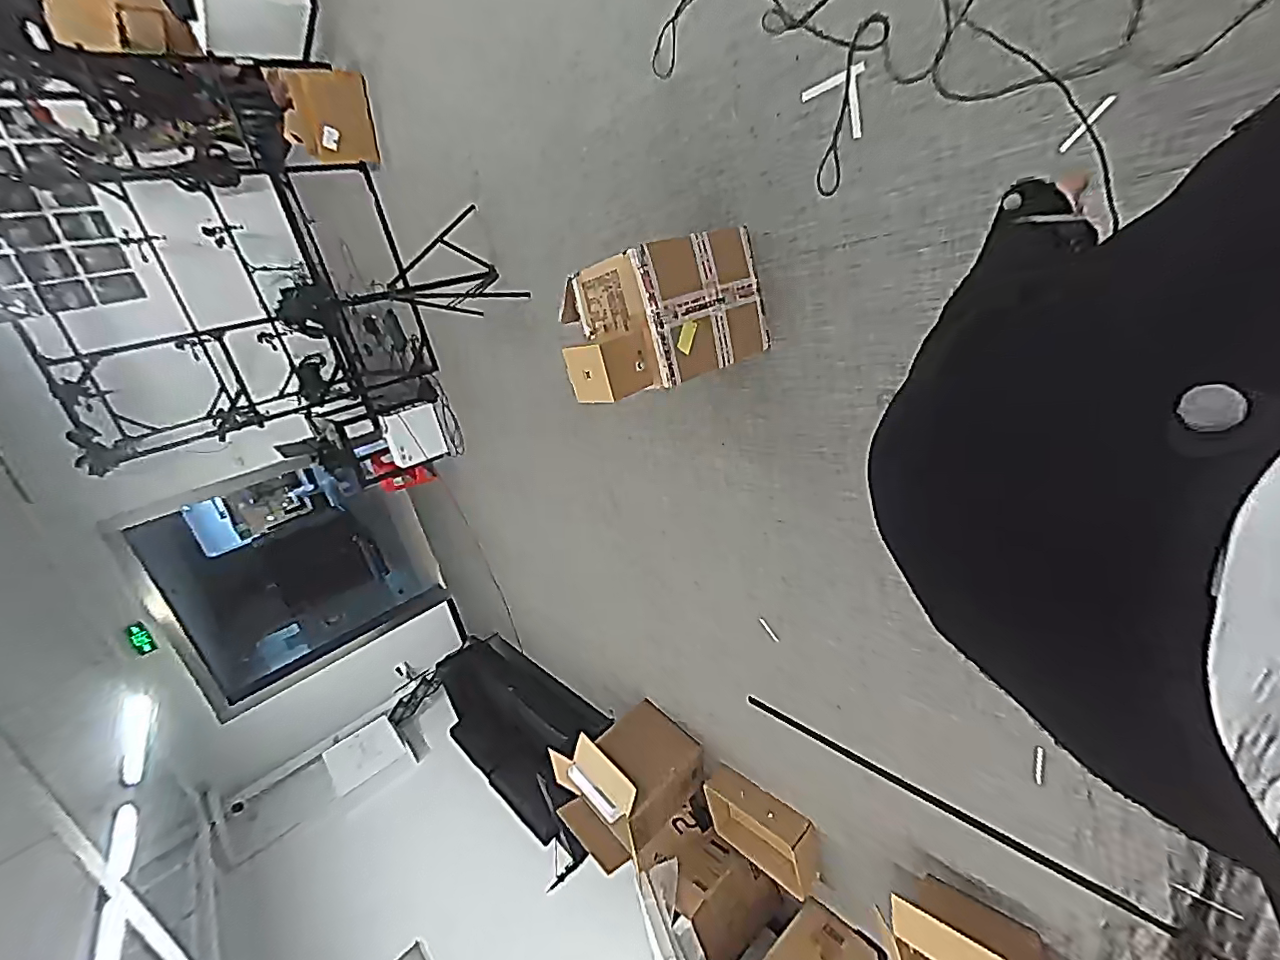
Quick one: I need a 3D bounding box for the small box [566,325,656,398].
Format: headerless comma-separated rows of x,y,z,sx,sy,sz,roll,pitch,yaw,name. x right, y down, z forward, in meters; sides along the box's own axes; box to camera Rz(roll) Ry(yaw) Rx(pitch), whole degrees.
-0.083,-0.343,1.573,0.179,0.176,0.168,7,120,46,small box
